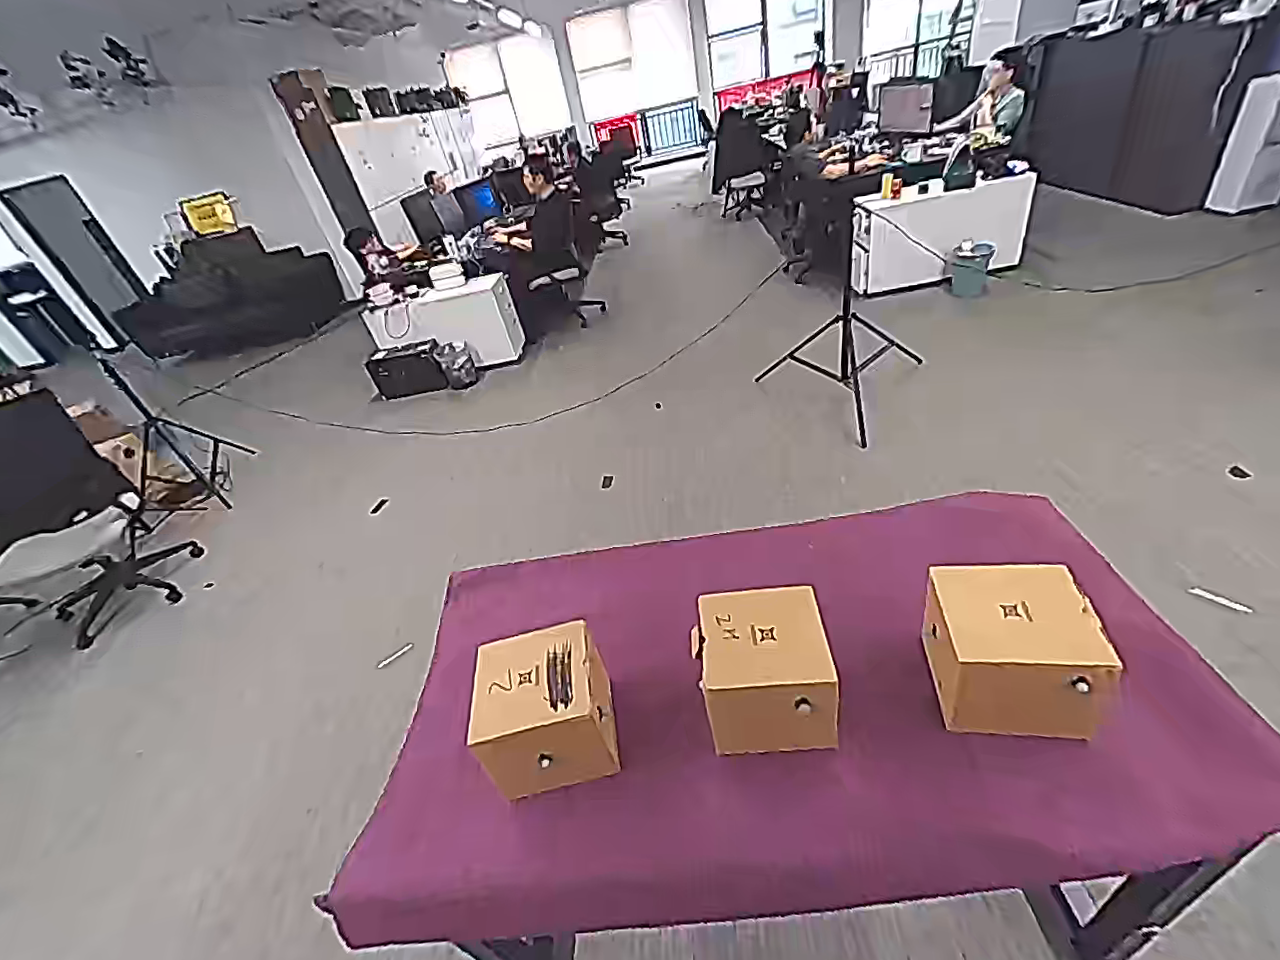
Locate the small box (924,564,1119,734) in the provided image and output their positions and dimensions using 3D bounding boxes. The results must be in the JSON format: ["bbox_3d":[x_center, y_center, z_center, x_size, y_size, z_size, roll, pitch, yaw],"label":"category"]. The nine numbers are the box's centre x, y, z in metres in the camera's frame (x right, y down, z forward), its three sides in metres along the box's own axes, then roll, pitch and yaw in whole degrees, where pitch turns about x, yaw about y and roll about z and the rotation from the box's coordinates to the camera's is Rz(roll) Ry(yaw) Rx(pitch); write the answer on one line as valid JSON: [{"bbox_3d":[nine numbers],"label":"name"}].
[{"bbox_3d":[0.512,0.236,0.762,0.179,0.176,0.168,-4,36,15],"label":"small box"}]

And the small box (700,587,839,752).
[{"bbox_3d":[0.189,0.284,0.811,0.179,0.176,0.168,-8,35,9],"label":"small box"}]
